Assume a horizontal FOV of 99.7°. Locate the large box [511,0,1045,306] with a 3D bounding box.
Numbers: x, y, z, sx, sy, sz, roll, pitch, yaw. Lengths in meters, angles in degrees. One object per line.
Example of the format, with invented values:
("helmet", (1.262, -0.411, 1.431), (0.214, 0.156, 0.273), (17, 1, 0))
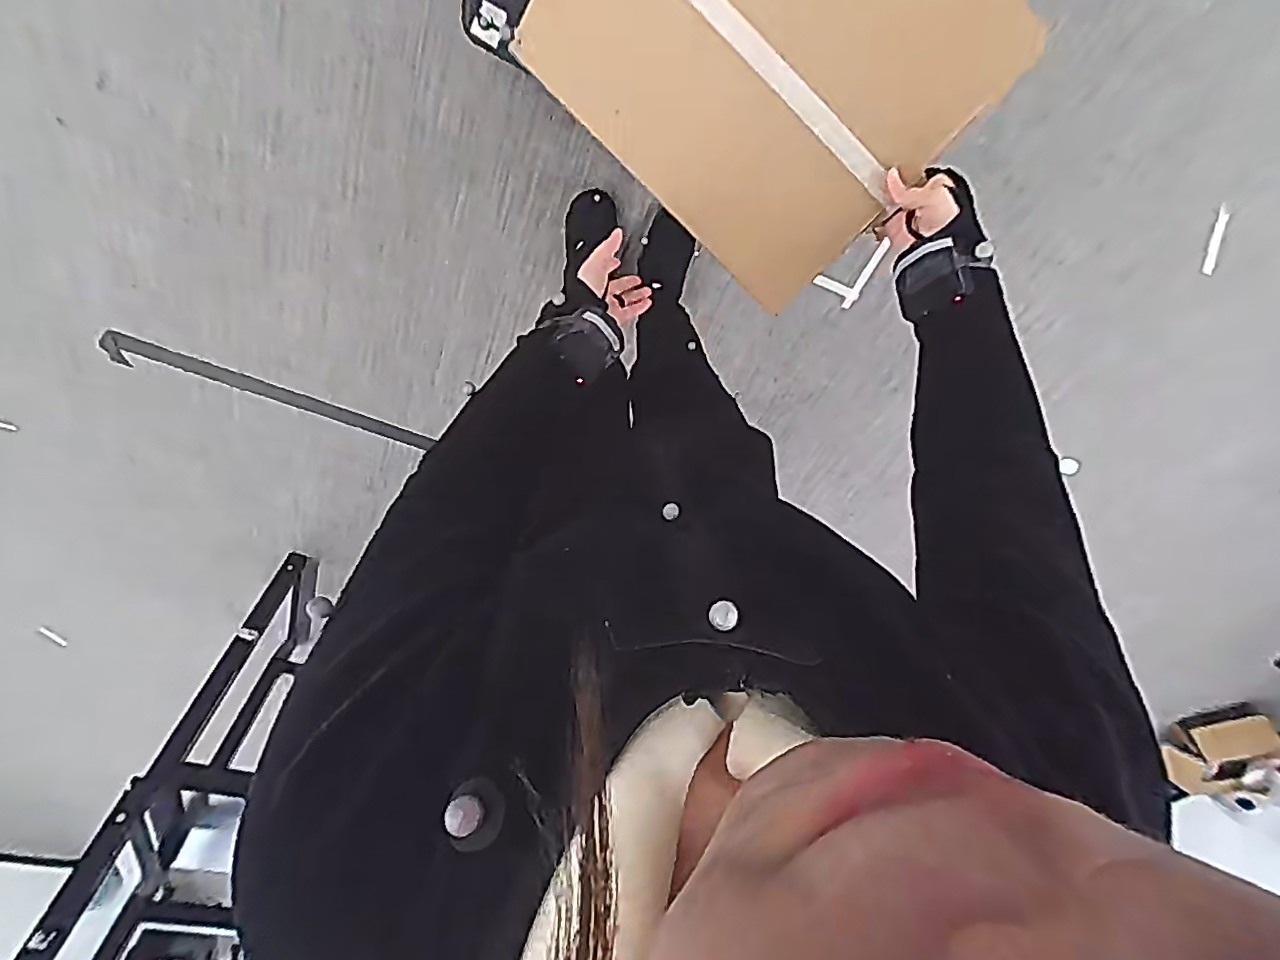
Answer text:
("large box", (0.145, -0.478, 0.629), (0.408, 0.320, 0.320), (42, 122, -6))
